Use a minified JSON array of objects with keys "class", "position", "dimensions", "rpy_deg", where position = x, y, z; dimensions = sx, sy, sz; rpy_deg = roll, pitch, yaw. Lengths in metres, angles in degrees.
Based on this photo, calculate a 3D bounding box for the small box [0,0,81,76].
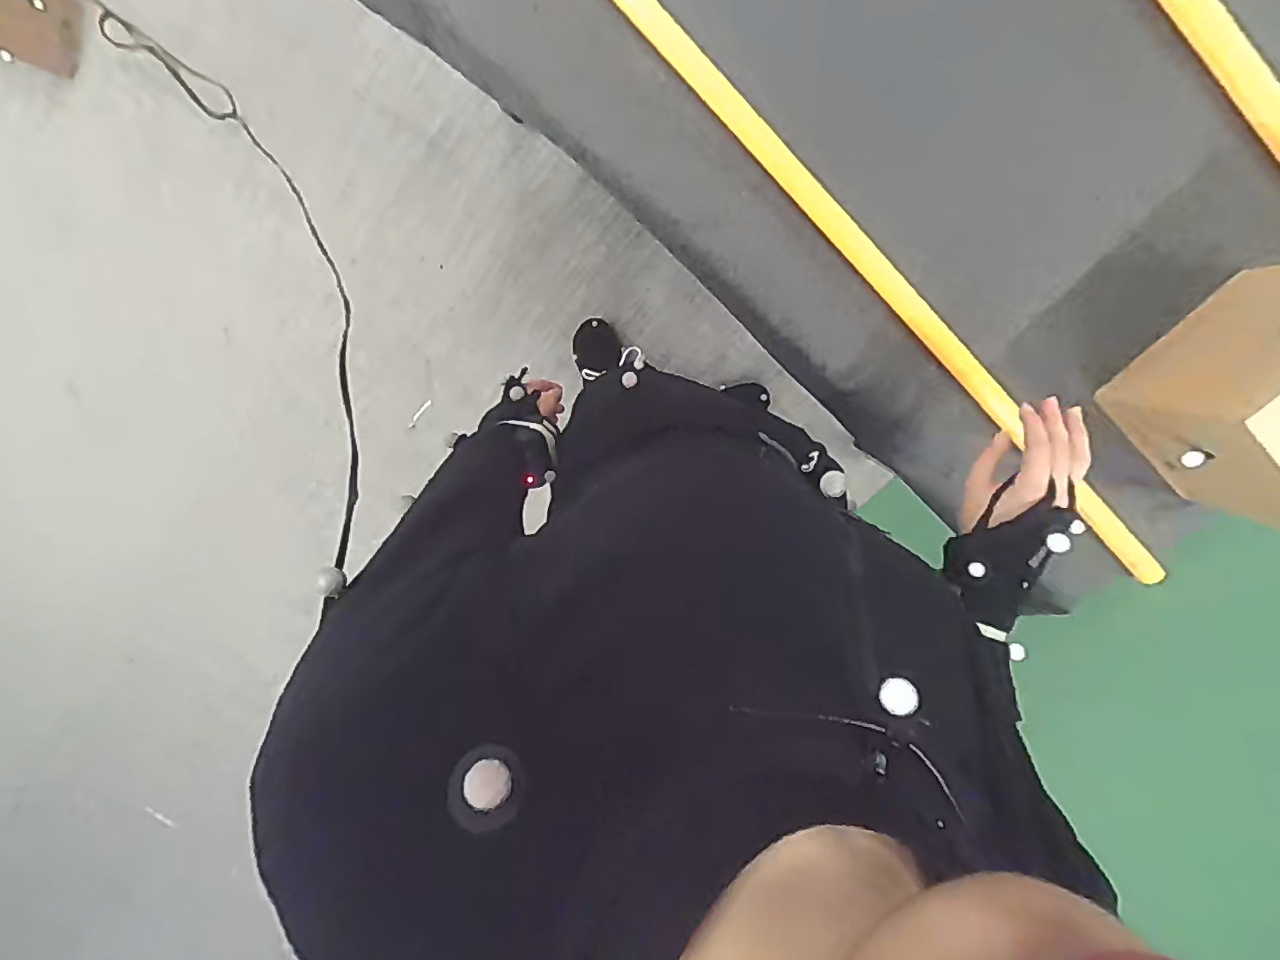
[{"class":"small box","position":[-1.345,-0.995,1.132],"dimensions":[0.179,0.176,0.168],"rpy_deg":[26,105,-3]}]

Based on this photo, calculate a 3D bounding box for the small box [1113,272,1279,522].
[{"class":"small box","position":[0.589,-0.071,0.486],"dimensions":[0.168,0.176,0.179],"rpy_deg":[43,103,-6]}]
